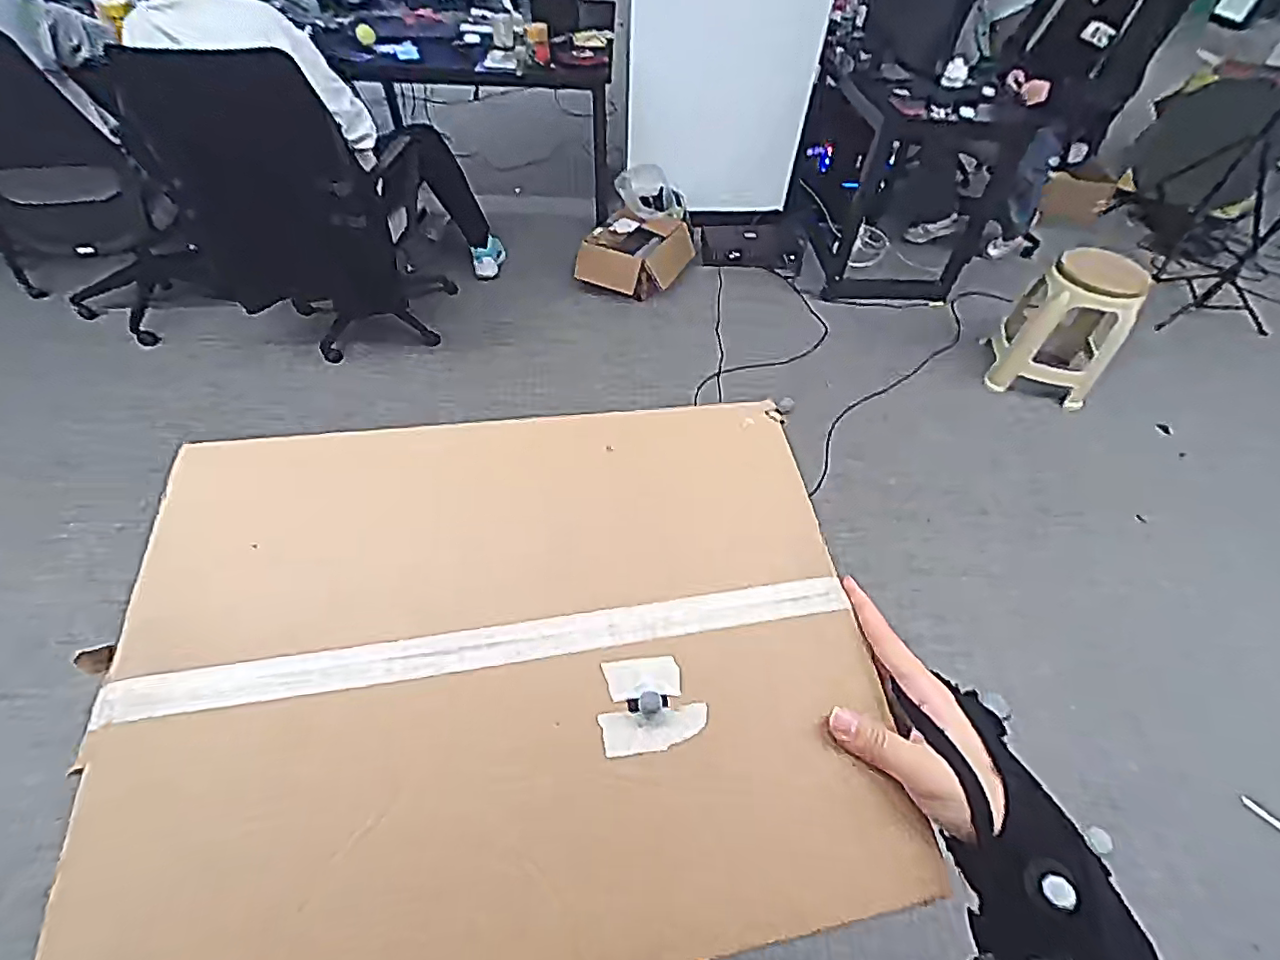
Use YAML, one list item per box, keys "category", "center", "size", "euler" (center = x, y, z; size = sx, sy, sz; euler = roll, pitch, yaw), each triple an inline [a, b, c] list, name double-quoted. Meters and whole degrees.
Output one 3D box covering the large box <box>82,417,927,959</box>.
- category: "large box"
  center: [-0.084, 0.175, 0.447]
  size: [0.408, 0.320, 0.320]
  euler: [-5, 61, -11]
